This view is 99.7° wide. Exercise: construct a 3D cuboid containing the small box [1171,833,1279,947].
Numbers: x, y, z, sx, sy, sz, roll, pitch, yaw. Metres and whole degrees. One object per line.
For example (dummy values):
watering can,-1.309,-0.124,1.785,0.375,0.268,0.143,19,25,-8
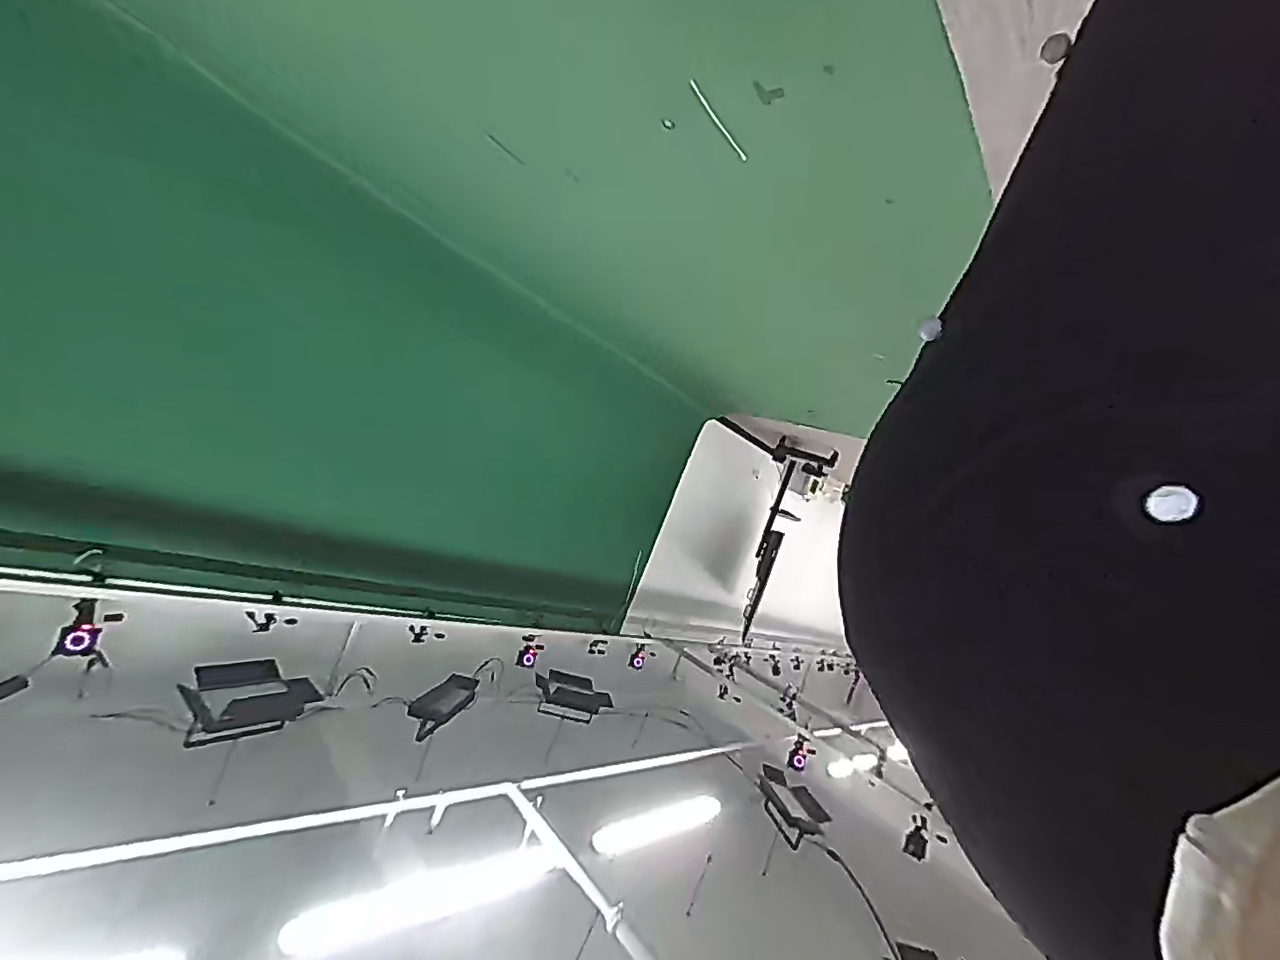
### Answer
small box,1.606,1.115,1.490,0.179,0.176,0.168,22,179,-44
